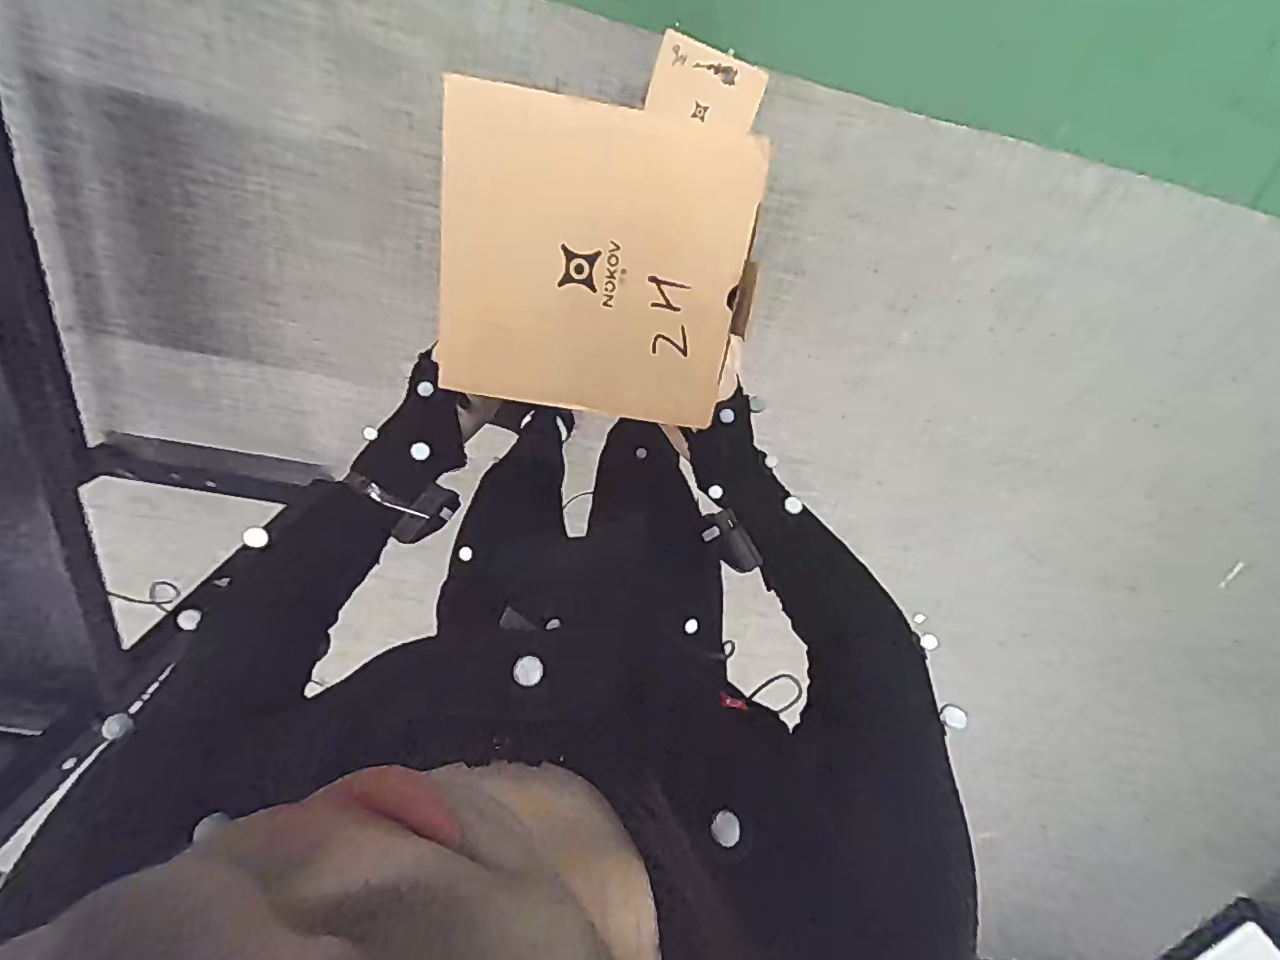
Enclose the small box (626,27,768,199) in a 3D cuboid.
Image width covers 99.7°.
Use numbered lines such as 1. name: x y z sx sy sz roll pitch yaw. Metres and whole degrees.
1. small box: 0.085 -0.577 0.878 0.168 0.176 0.179 17 116 -9
